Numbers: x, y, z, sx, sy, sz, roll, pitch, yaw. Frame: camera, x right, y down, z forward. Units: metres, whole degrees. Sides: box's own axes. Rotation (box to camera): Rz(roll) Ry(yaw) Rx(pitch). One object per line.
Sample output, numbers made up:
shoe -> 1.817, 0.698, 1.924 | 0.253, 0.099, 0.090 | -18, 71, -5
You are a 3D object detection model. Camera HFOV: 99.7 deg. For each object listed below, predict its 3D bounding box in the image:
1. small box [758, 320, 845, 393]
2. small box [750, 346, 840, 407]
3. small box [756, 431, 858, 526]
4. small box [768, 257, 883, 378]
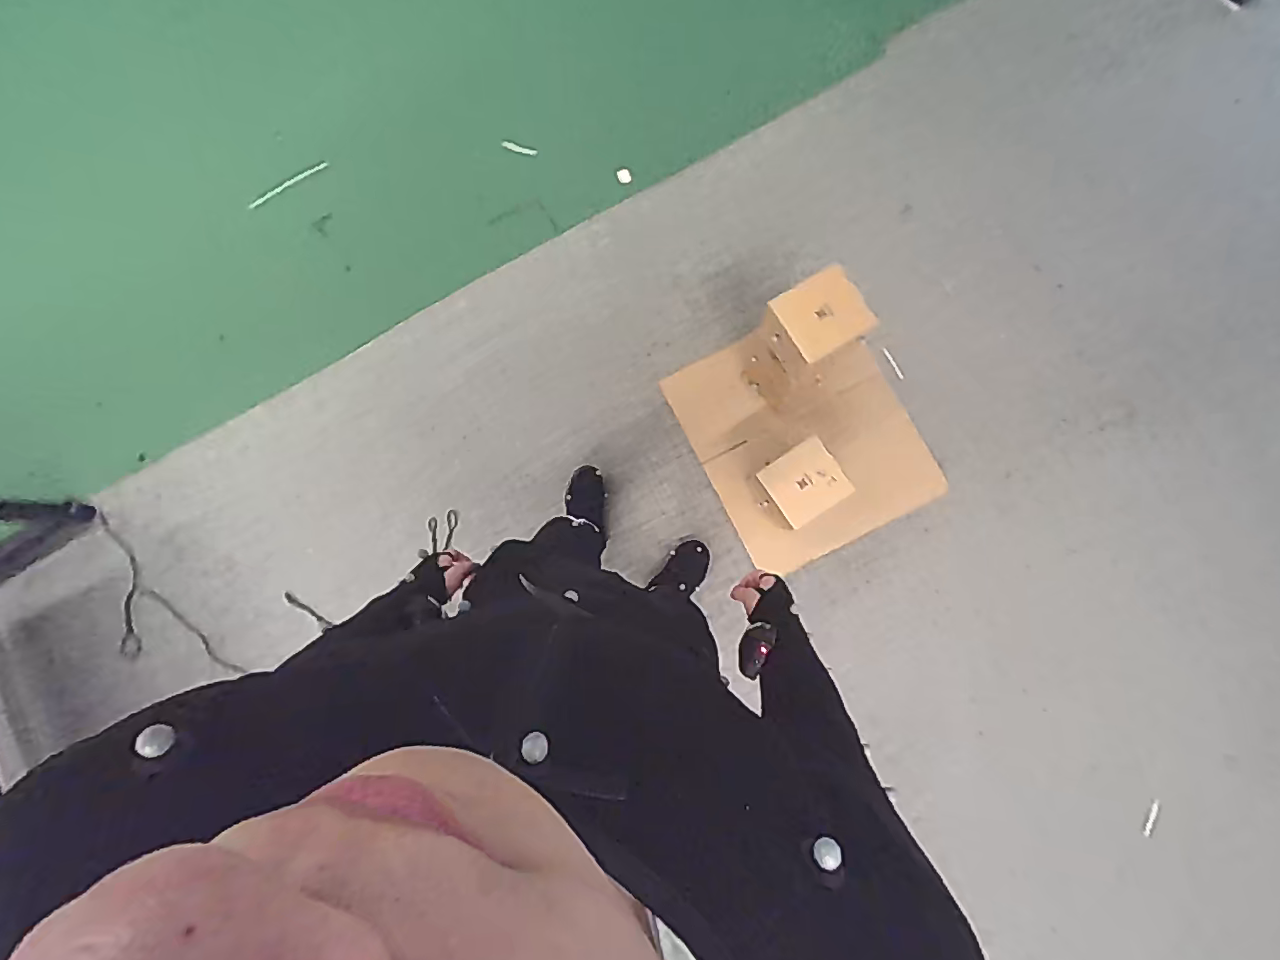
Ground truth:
small box -> 0.417, -0.346, 1.385 | 0.179, 0.176, 0.168 | -31, 83, 2
small box -> 0.433, -0.332, 1.546 | 0.179, 0.176, 0.168 | -34, 83, 2
small box -> 0.404, 0.003, 1.350 | 0.179, 0.176, 0.168 | -33, 84, 2
small box -> 0.406, -0.356, 1.223 | 0.179, 0.176, 0.168 | -30, 83, 2
